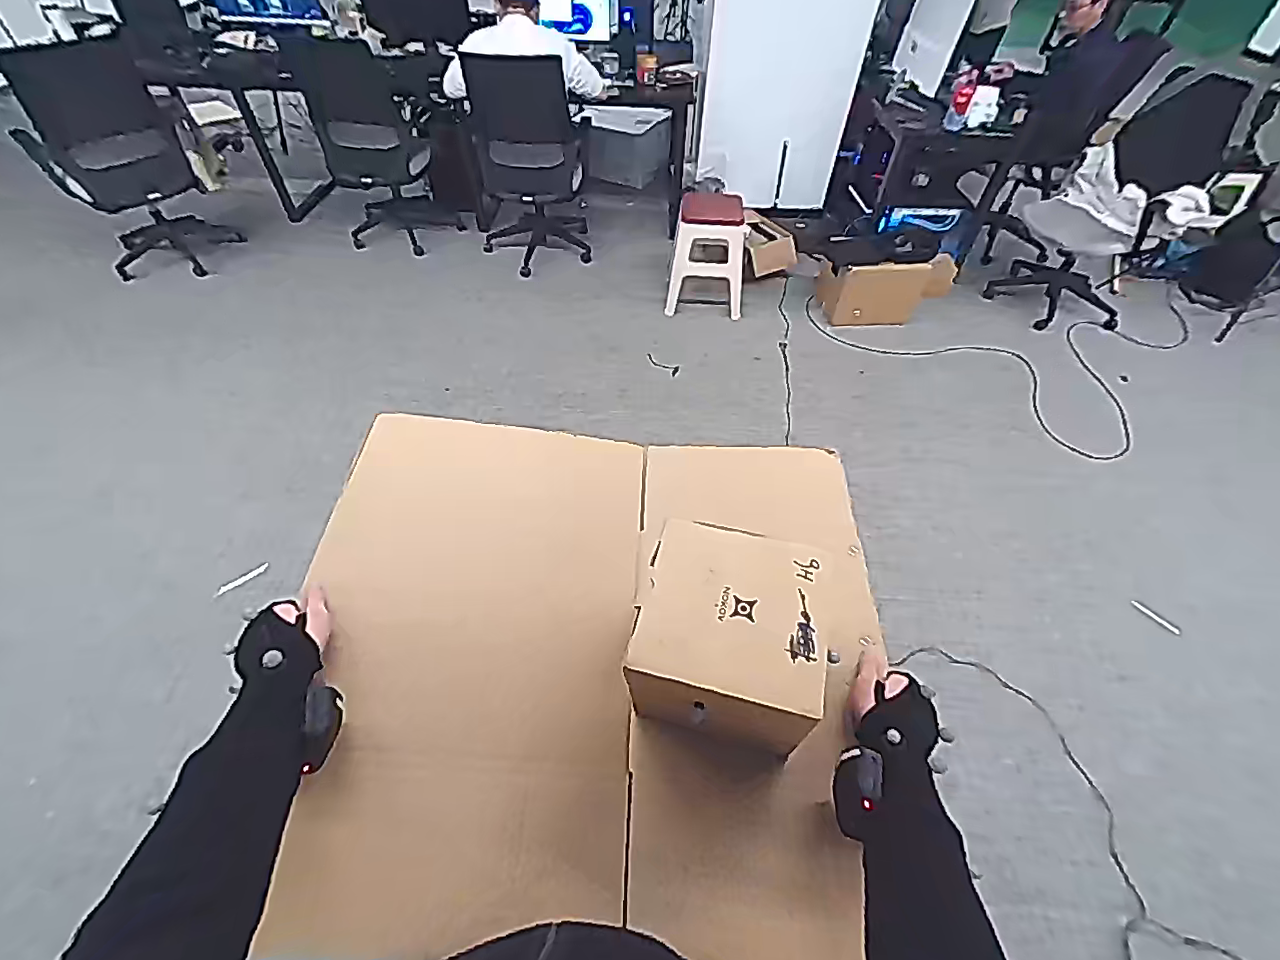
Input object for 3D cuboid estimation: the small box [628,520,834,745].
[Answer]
[{"bbox_3d":[0.099,0.168,0.584,0.179,0.176,0.168,10,55,13],"label":"small box"}]
